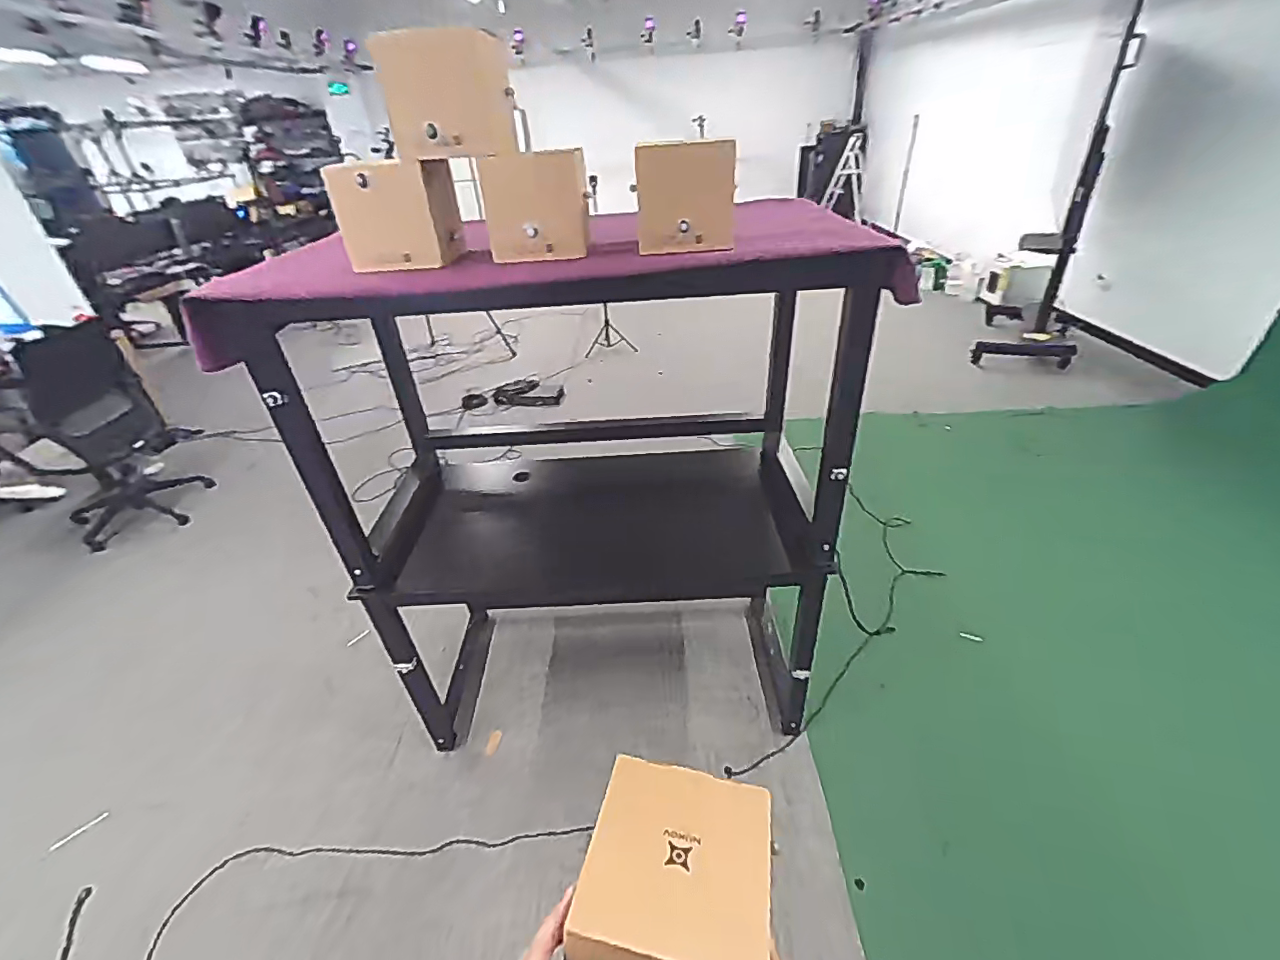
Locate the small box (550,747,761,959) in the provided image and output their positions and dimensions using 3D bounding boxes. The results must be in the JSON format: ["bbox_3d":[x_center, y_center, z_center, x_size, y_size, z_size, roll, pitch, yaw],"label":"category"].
[{"bbox_3d":[0.022,0.405,0.524,0.168,0.176,0.179,8,22,10],"label":"small box"}]

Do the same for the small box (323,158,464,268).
[{"bbox_3d":[-0.436,-0.492,0.992,0.168,0.176,0.179,-3,32,1],"label":"small box"}]

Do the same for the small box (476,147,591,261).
[{"bbox_3d":[-0.183,-0.505,0.988,0.168,0.176,0.179,-3,33,2],"label":"small box"}]

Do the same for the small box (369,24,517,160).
[{"bbox_3d":[-0.313,-0.637,0.905,0.168,0.176,0.179,-2,33,4],"label":"small box"}]
